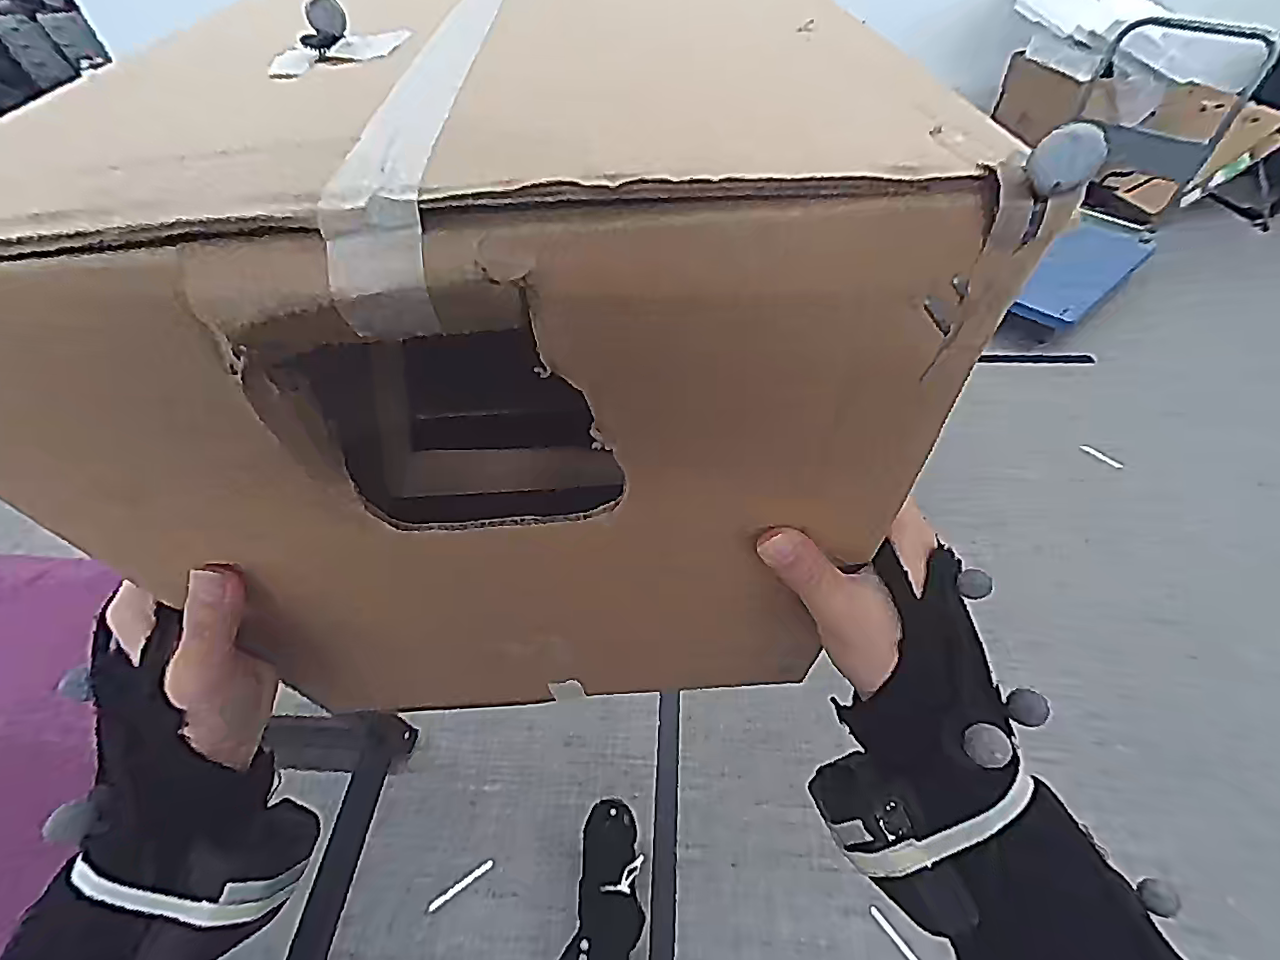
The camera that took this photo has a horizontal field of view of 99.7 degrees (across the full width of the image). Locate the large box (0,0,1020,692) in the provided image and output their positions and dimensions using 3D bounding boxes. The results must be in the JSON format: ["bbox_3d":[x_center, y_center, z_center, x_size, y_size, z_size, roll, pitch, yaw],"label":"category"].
[{"bbox_3d":[-0.063,-0.114,0.375,0.320,0.320,0.408,-5,51,0],"label":"large box"}]
